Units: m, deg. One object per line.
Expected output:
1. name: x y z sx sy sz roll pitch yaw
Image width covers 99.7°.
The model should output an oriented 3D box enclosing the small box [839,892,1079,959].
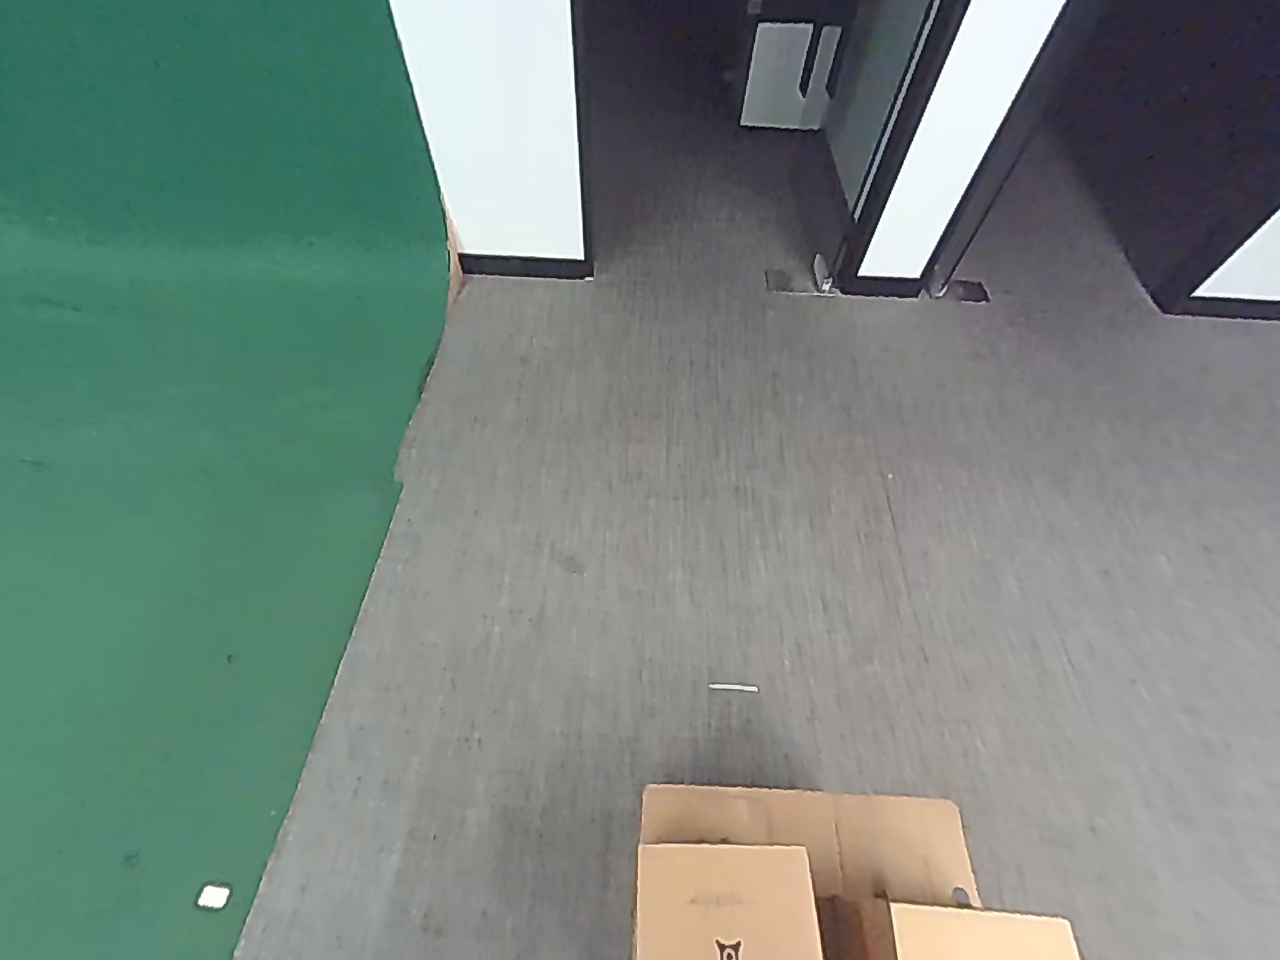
1. small box: 0.304 0.516 0.521 0.168 0.176 0.179 4 57 2

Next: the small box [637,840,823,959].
1. small box: 0.080 0.471 0.535 0.168 0.176 0.179 1 52 1
